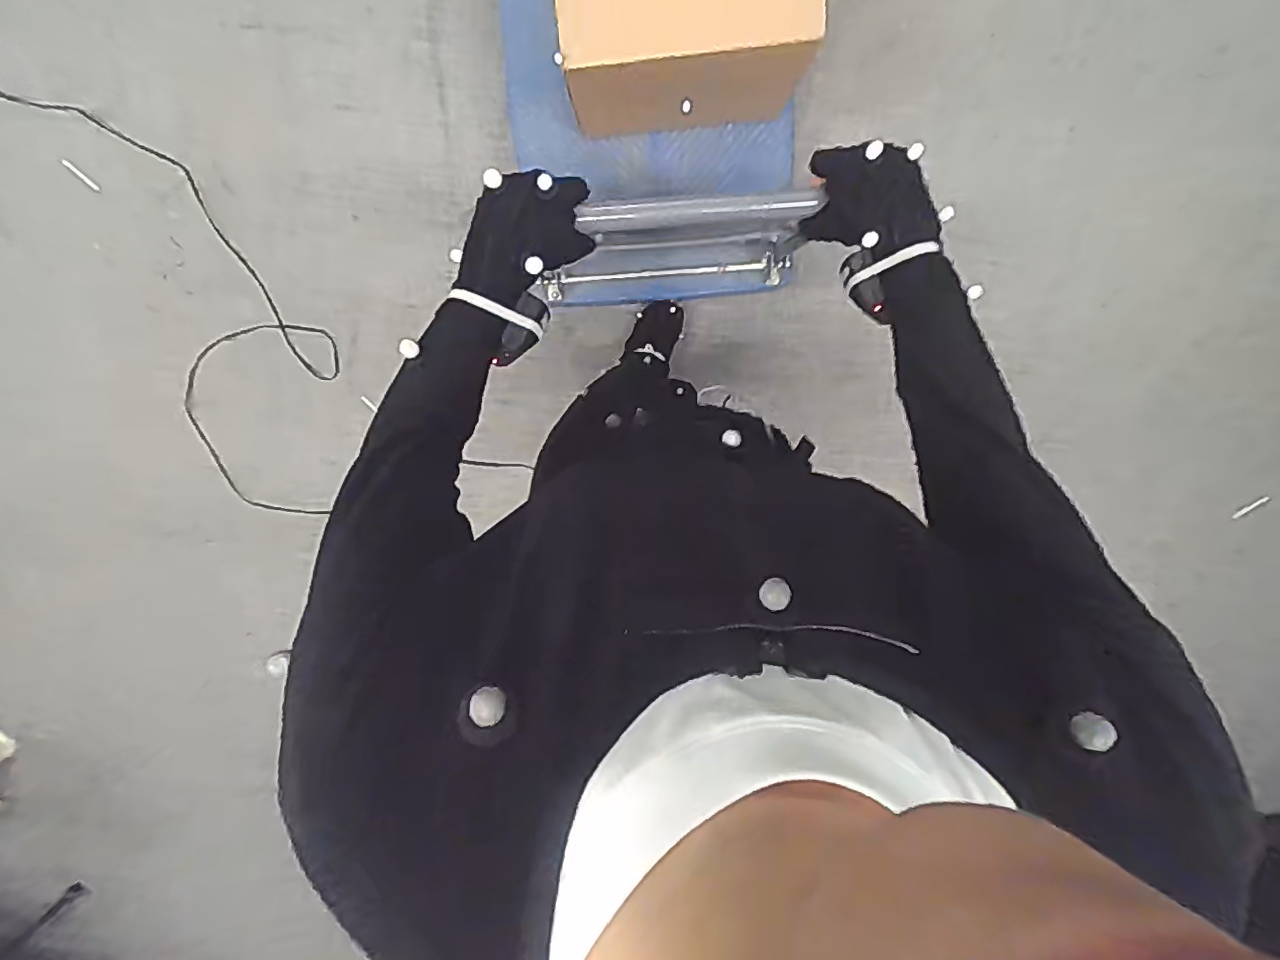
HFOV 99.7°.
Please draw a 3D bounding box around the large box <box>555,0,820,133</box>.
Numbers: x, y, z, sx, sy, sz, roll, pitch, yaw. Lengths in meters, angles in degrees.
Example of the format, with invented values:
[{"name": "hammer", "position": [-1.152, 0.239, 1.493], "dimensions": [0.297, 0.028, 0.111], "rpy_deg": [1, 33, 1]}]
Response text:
[{"name": "large box", "position": [0.066, -0.849, 0.939], "dimensions": [0.408, 0.320, 0.320], "rpy_deg": [-5, 104, 3]}]
